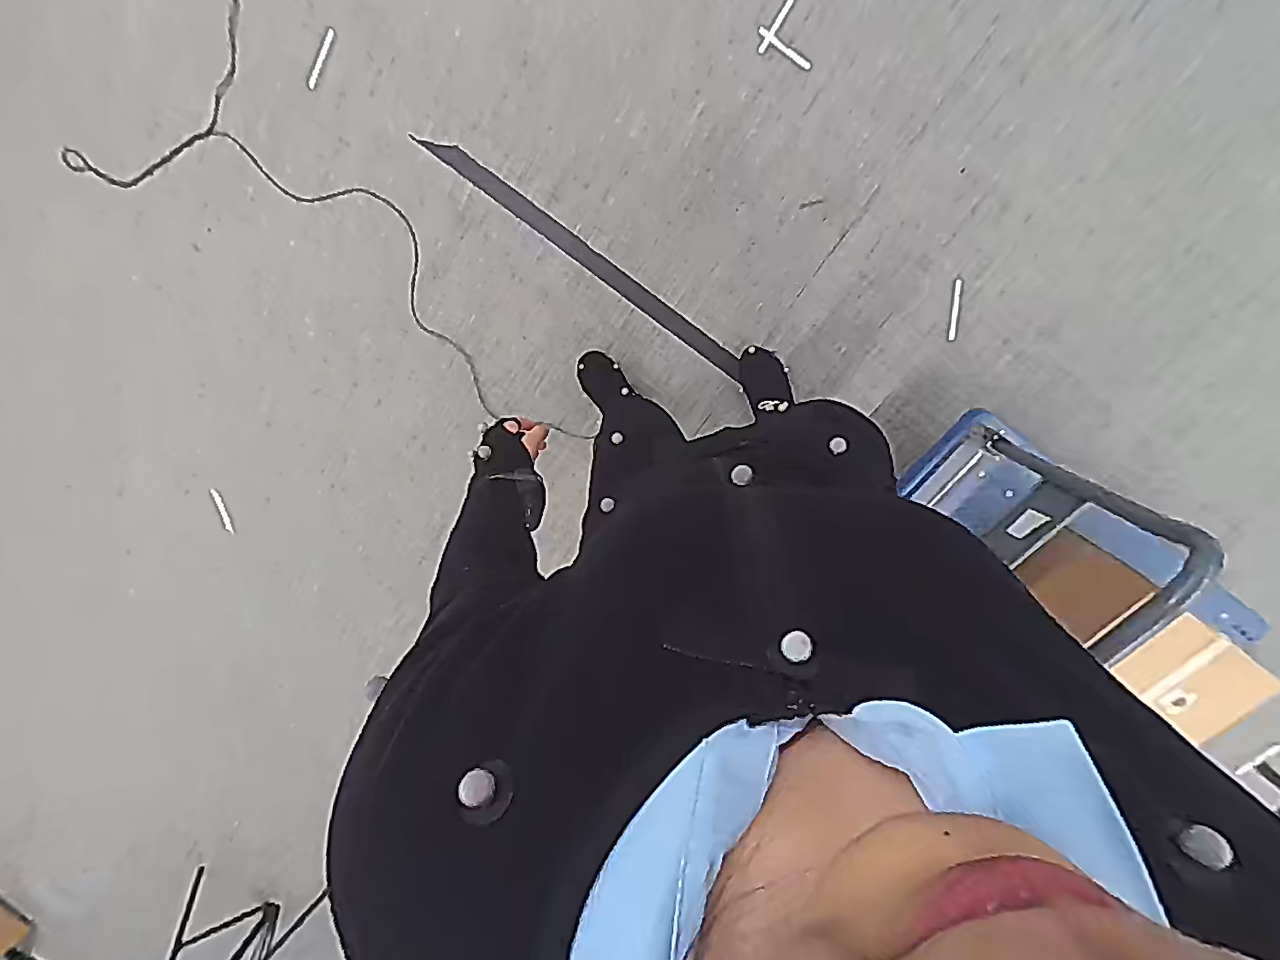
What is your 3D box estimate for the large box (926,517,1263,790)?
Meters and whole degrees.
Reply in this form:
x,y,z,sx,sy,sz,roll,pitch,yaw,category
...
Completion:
x,y,z,sx,sy,sz,roll,pitch,yaw,category
0.933,0.360,1.184,0.320,0.320,0.408,36,108,-4,large box
